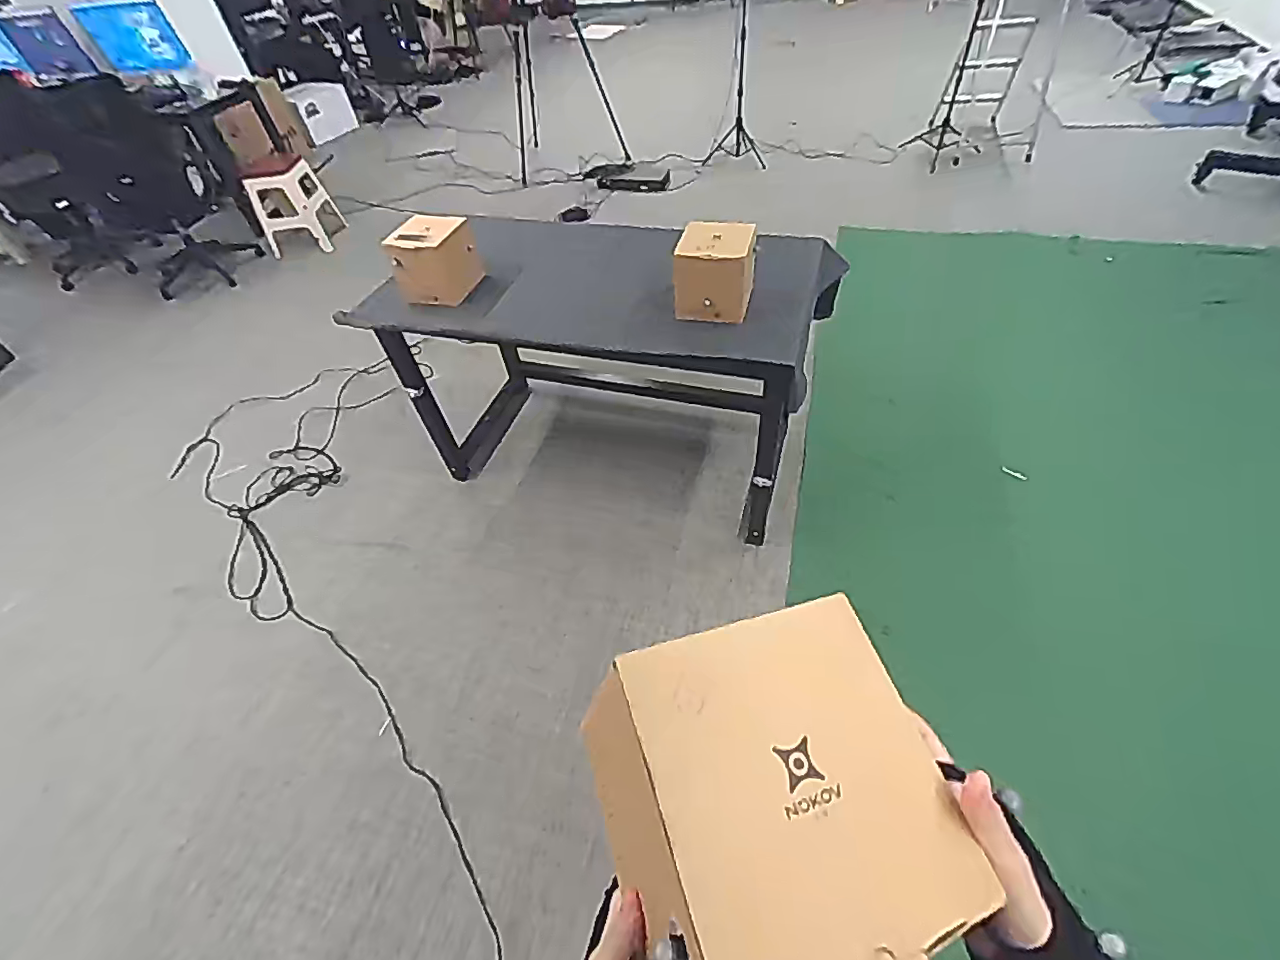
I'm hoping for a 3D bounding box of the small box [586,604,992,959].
[{"bbox_3d":[0.068,0.211,0.362,0.168,0.176,0.179,-10,59,-20],"label":"small box"}]

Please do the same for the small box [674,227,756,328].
[{"bbox_3d":[0.184,-0.494,1.318,0.168,0.176,0.179,8,50,16],"label":"small box"}]
